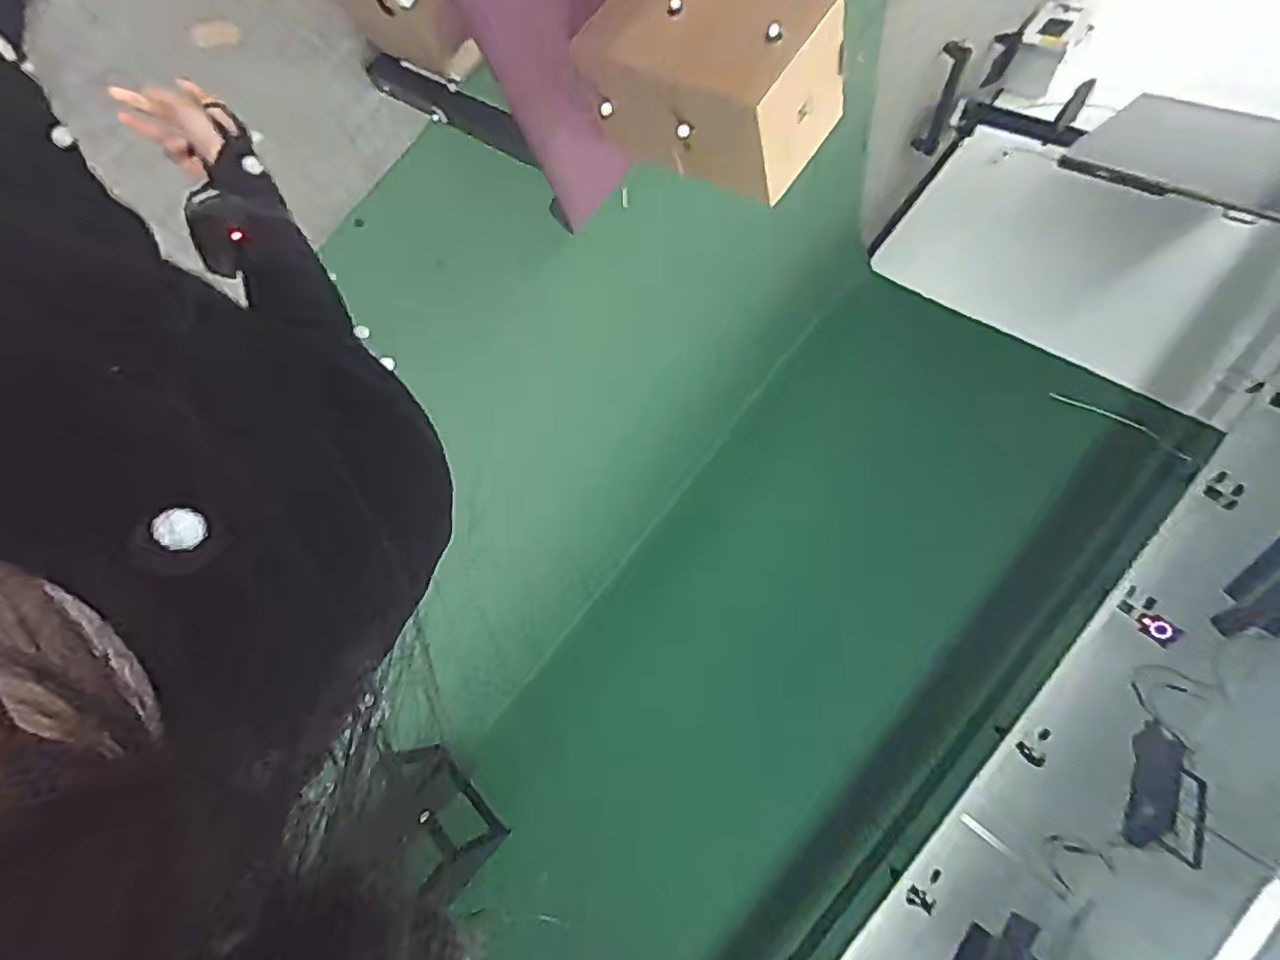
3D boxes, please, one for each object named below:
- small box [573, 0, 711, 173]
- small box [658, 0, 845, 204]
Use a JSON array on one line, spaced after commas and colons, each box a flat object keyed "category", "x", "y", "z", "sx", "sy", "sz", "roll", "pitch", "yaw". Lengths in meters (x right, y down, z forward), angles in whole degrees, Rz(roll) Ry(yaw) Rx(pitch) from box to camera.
[{"category": "small box", "x": 0.033, "y": -0.609, "z": 0.805, "sx": 0.179, "sy": 0.176, "sz": 0.168, "roll": -51, "pitch": 155, "yaw": -5}, {"category": "small box", "x": 0.152, "y": -0.524, "z": 0.733, "sx": 0.179, "sy": 0.176, "sz": 0.168, "roll": -53, "pitch": 155, "yaw": -2}]
